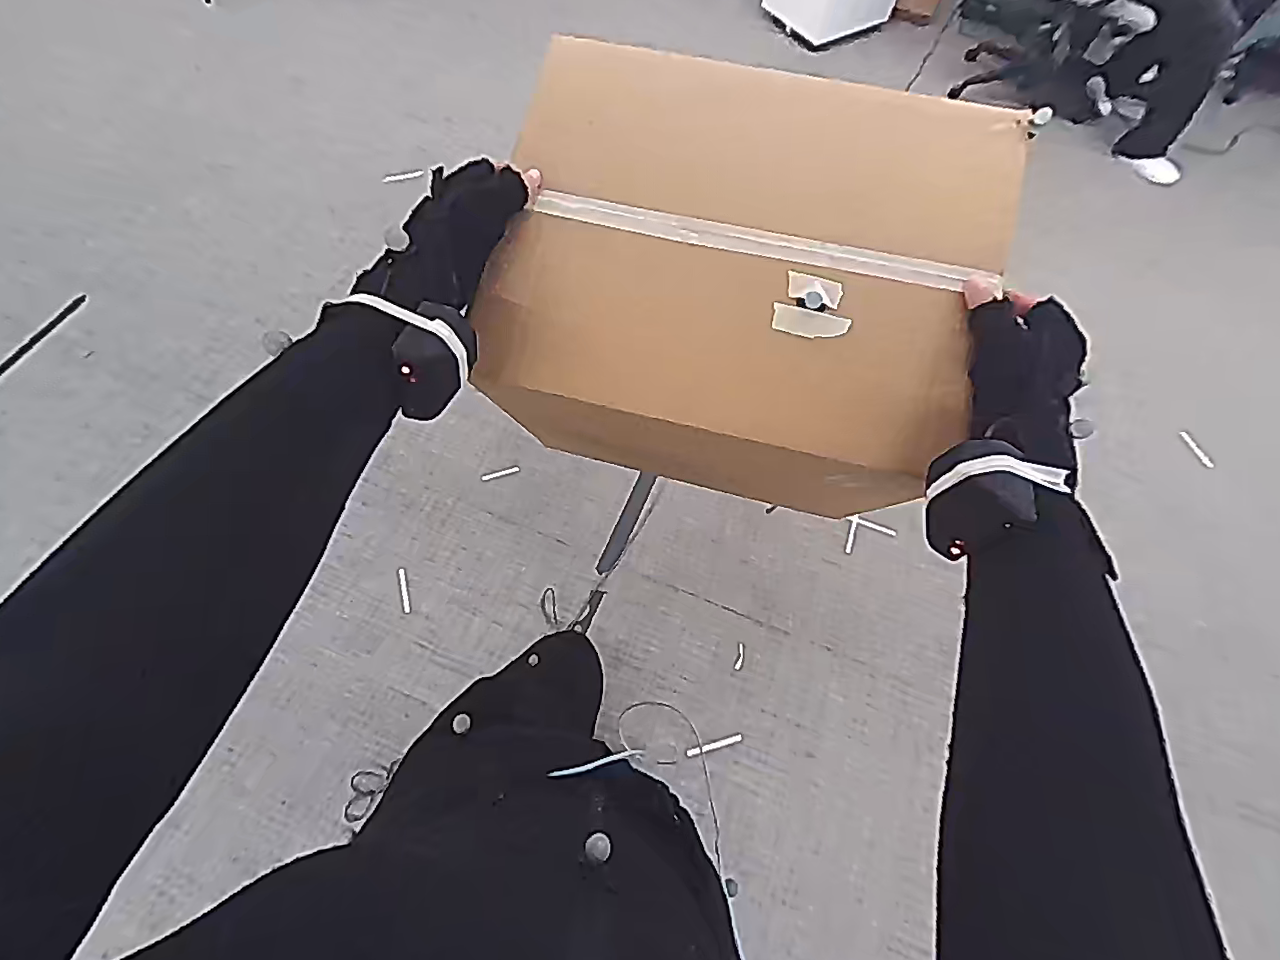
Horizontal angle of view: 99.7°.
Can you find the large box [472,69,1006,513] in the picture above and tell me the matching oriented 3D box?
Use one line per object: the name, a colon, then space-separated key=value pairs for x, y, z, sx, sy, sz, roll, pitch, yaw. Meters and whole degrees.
large box: x=0.091 y=-0.166 z=0.602 sx=0.408 sy=0.320 sz=0.320 roll=14 pitch=84 yaw=6
